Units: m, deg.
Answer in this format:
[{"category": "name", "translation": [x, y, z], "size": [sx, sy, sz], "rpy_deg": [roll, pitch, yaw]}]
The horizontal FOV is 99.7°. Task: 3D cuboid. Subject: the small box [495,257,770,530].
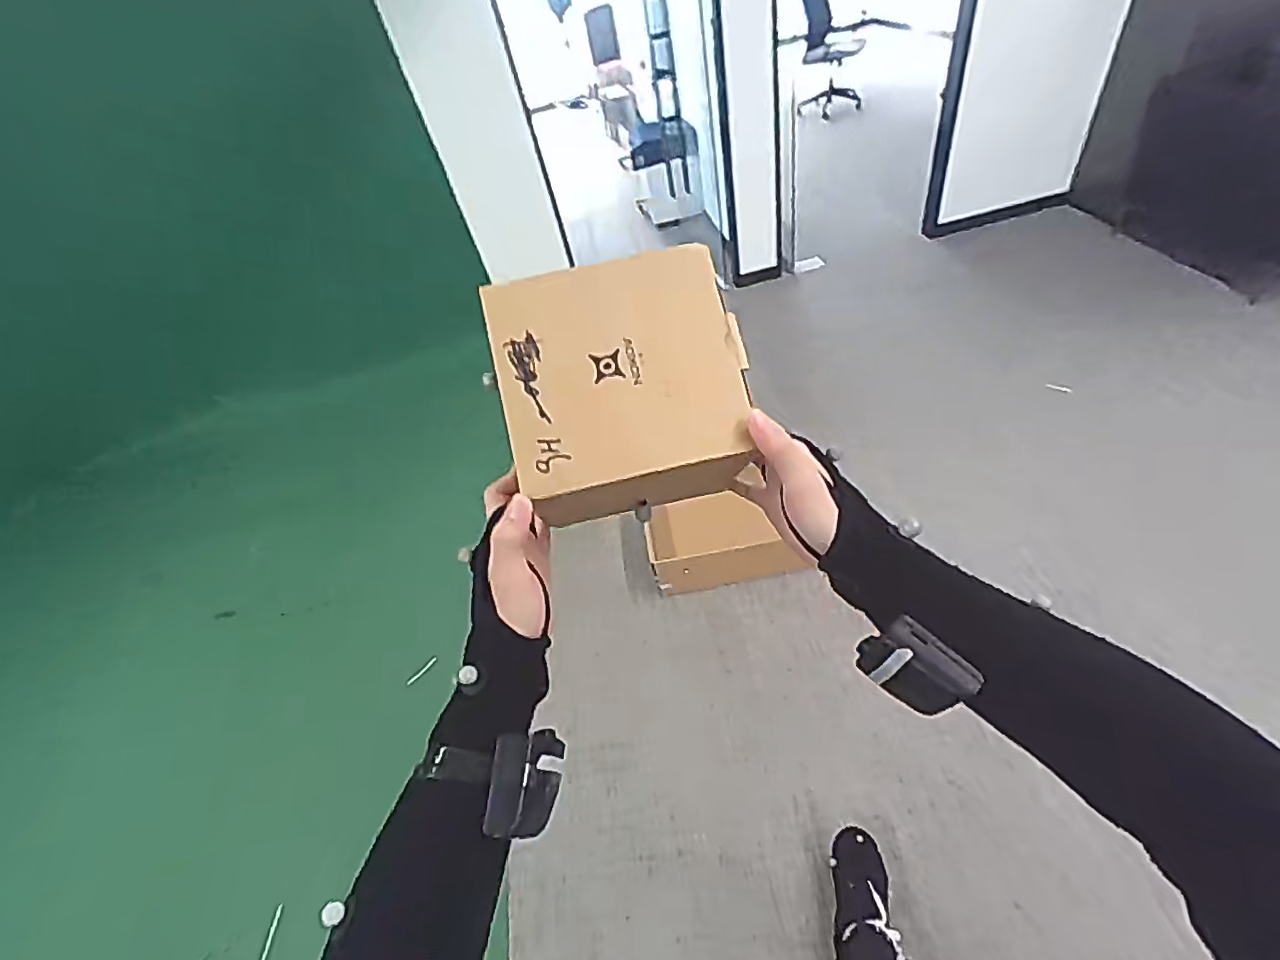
[{"category": "small box", "translation": [-0.011, -0.060, 0.470], "size": [0.179, 0.176, 0.168], "rpy_deg": [-12, 78, -5]}]
